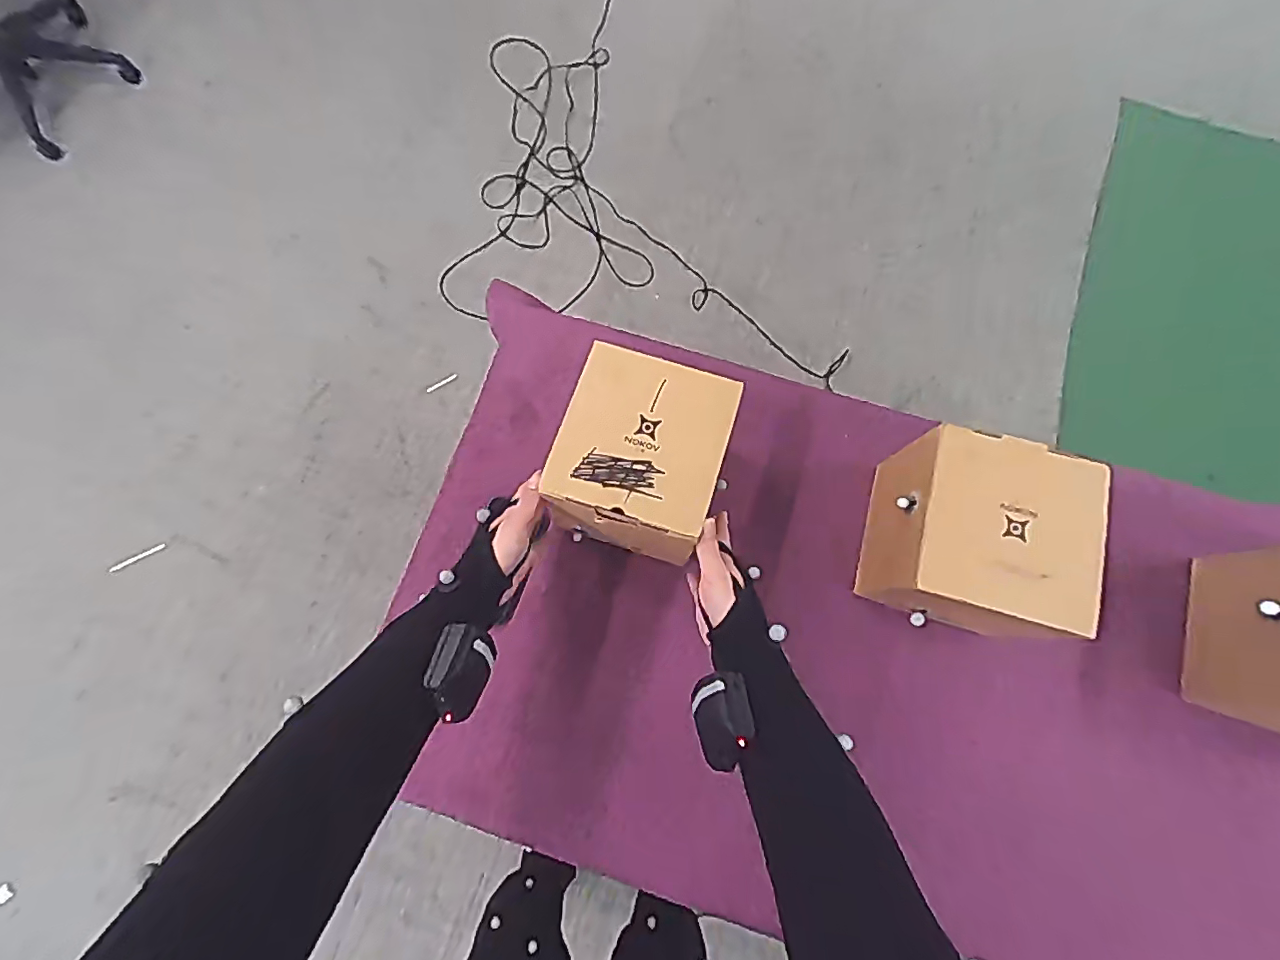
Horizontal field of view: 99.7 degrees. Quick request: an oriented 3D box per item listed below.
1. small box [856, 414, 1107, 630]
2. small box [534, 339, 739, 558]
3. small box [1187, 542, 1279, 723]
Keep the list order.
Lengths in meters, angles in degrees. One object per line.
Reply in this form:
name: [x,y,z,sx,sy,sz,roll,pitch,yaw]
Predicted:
small box: [0.356,0.055,0.592,0.168,0.176,0.179,16,76,6]
small box: [0.001,-0.023,0.612,0.168,0.176,0.179,17,73,5]
small box: [0.727,0.165,0.556,0.168,0.176,0.179,18,76,6]
